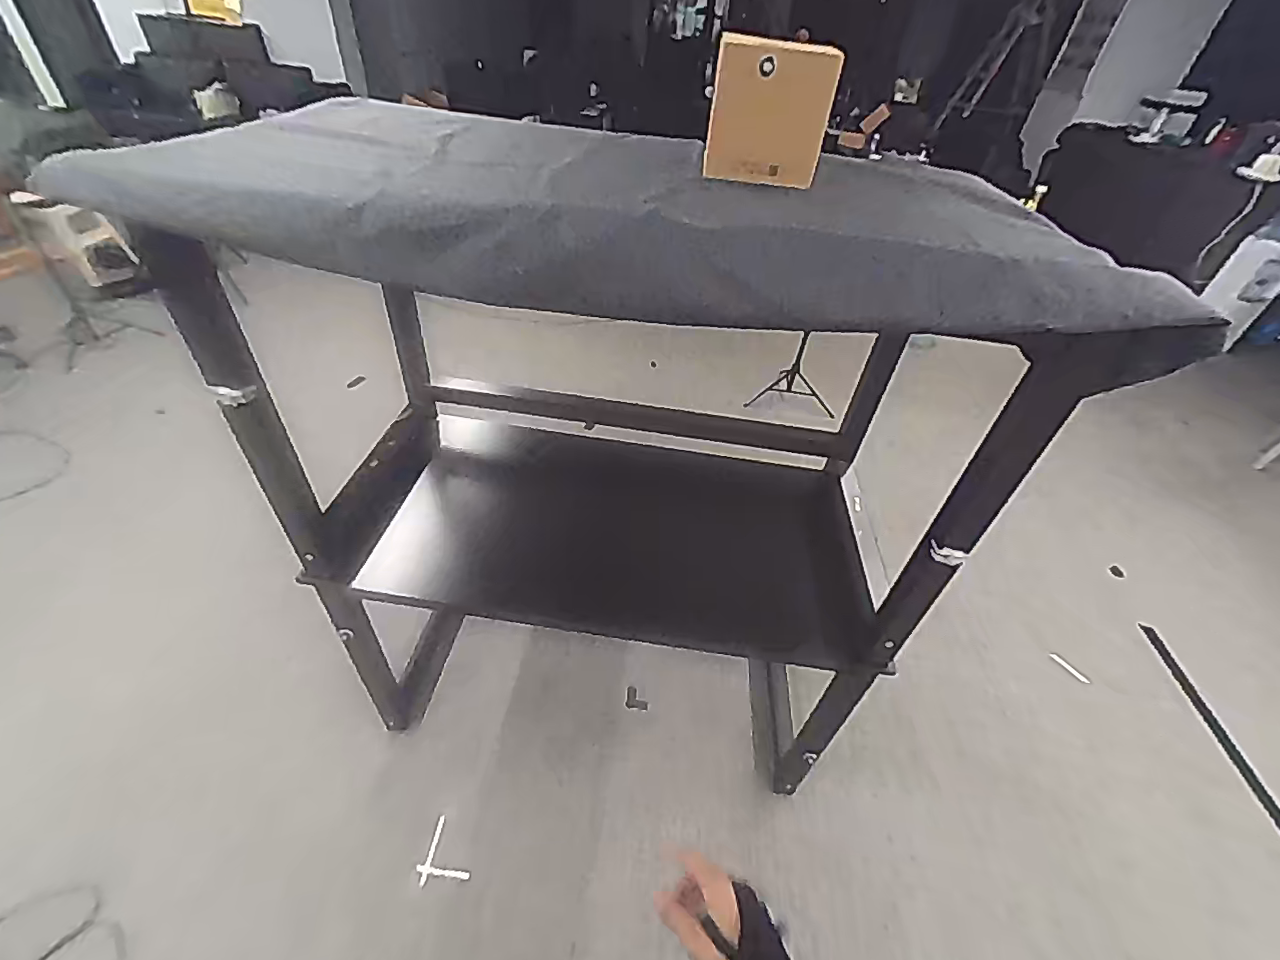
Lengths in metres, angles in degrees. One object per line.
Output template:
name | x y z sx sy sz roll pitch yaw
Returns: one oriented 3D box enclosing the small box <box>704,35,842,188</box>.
small box | 0.194 -0.575 0.845 0.168 0.176 0.179 7 40 1
